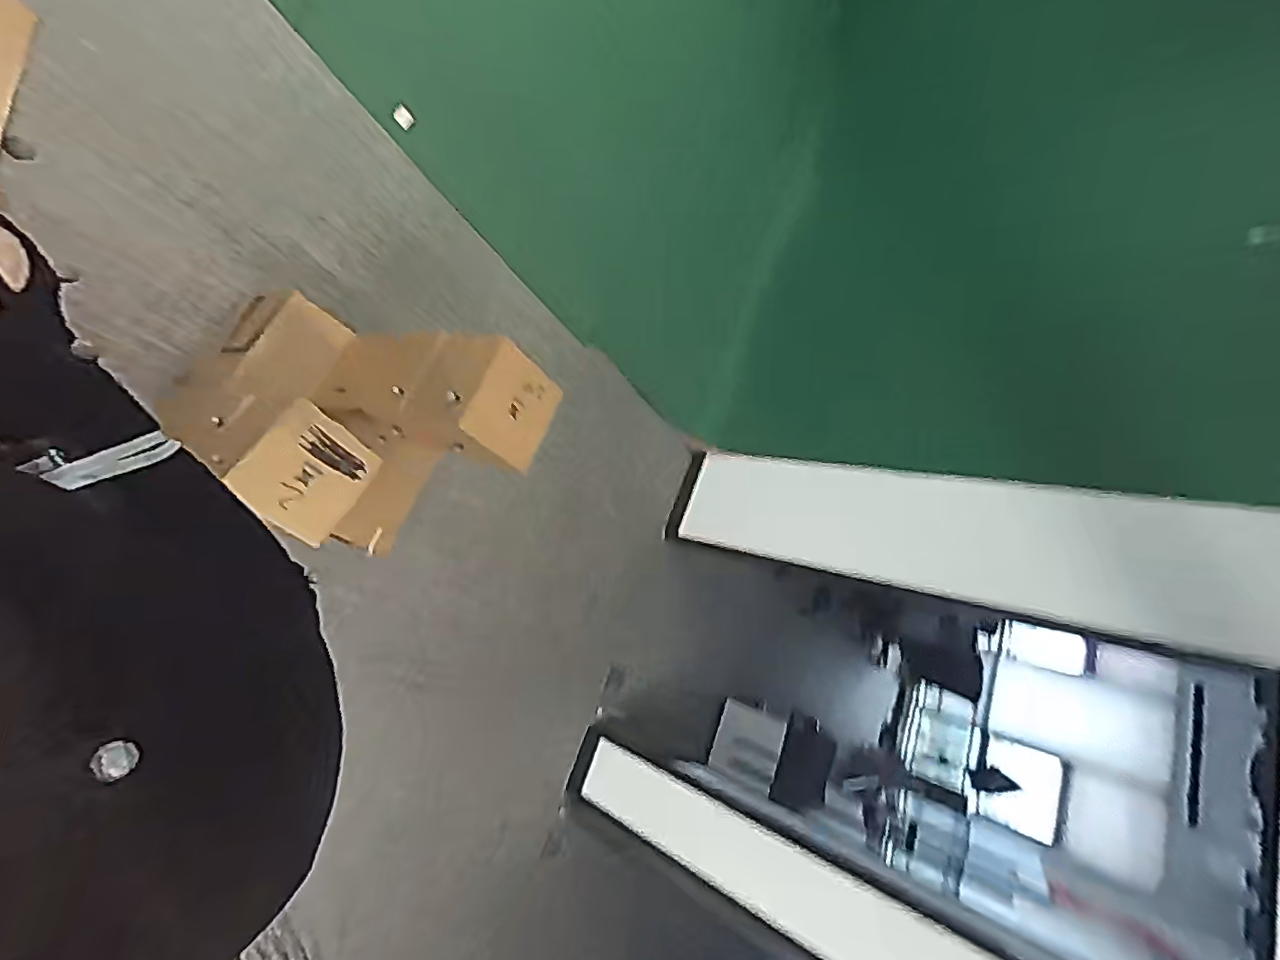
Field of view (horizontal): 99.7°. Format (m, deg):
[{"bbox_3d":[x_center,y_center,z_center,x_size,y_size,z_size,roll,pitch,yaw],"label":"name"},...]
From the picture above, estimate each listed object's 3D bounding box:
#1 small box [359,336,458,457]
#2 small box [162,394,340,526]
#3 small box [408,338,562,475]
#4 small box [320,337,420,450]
[{"bbox_3d":[-0.409,-0.165,1.058,0.168,0.176,0.179,42,66,-51],"label":"small box"},{"bbox_3d":[-0.697,-0.042,0.973,0.179,0.176,0.168,48,61,-47],"label":"small box"},{"bbox_3d":[-0.278,-0.131,0.962,0.168,0.176,0.179,44,63,-50],"label":"small box"},{"bbox_3d":[-0.542,-0.183,1.149,0.168,0.176,0.179,40,65,-51],"label":"small box"}]
